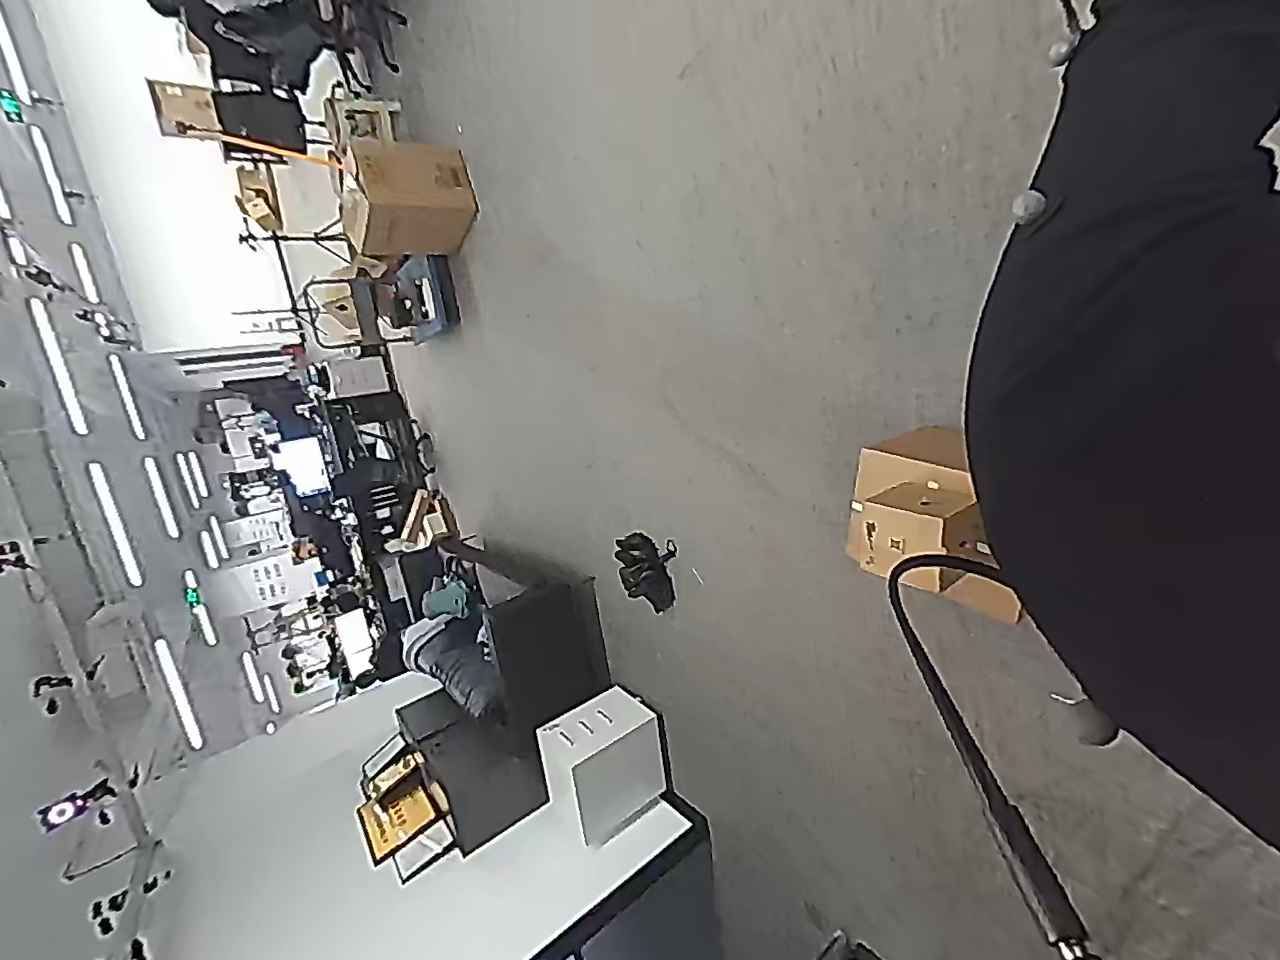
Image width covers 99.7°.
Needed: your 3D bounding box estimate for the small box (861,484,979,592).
[{"bbox_3d":[0.608,0.115,1.175,0.179,0.176,0.168,16,116,50],"label":"small box"}]
